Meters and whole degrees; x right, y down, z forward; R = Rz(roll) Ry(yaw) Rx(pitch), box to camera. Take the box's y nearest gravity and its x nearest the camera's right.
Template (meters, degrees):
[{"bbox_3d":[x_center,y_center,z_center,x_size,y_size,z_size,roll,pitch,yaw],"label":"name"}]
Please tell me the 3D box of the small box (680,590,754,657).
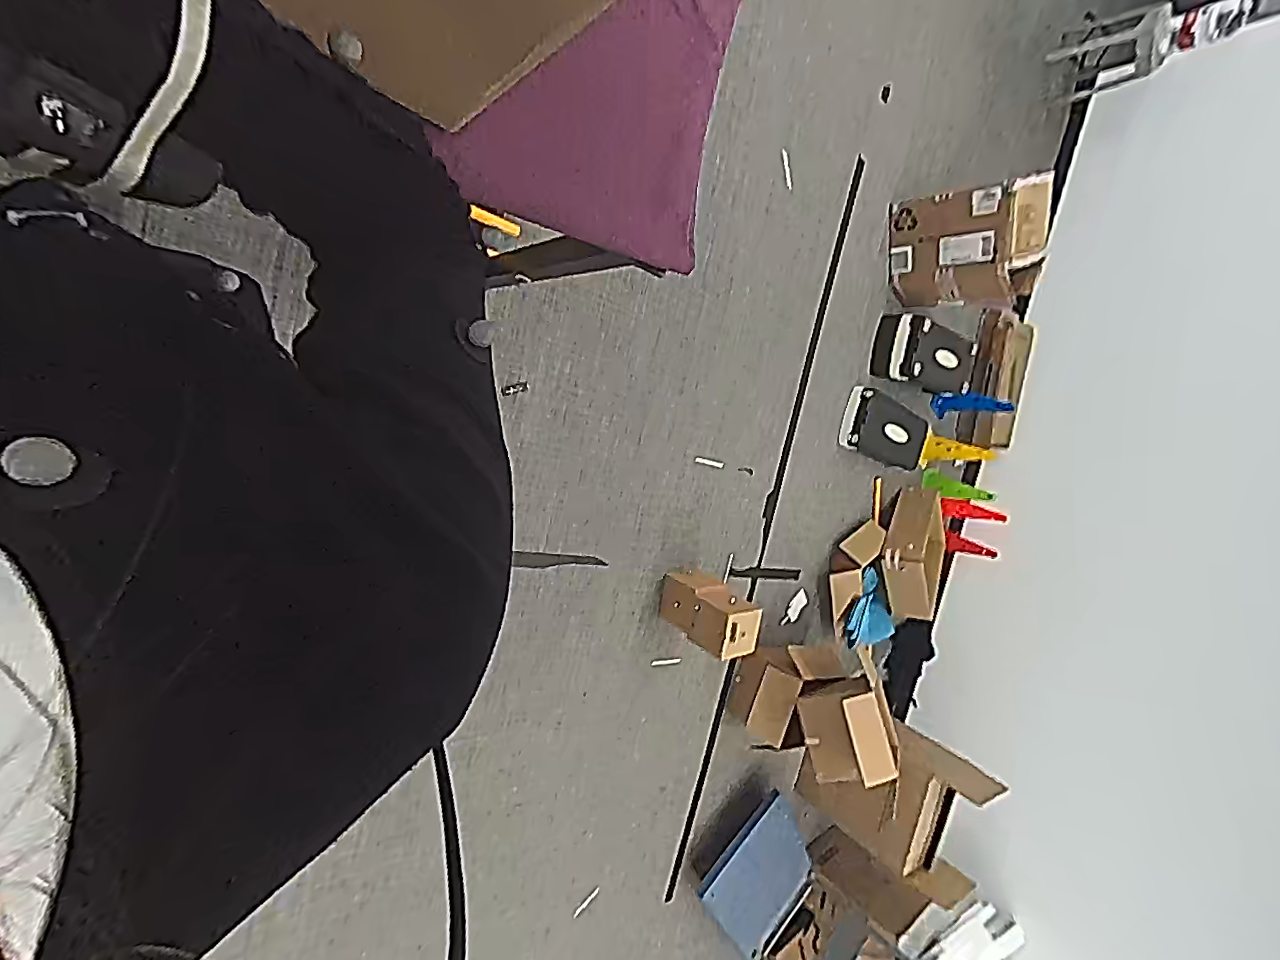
[{"bbox_3d":[0.264,0.494,1.887,0.179,0.176,0.168,3,101,-41],"label":"small box"}]
